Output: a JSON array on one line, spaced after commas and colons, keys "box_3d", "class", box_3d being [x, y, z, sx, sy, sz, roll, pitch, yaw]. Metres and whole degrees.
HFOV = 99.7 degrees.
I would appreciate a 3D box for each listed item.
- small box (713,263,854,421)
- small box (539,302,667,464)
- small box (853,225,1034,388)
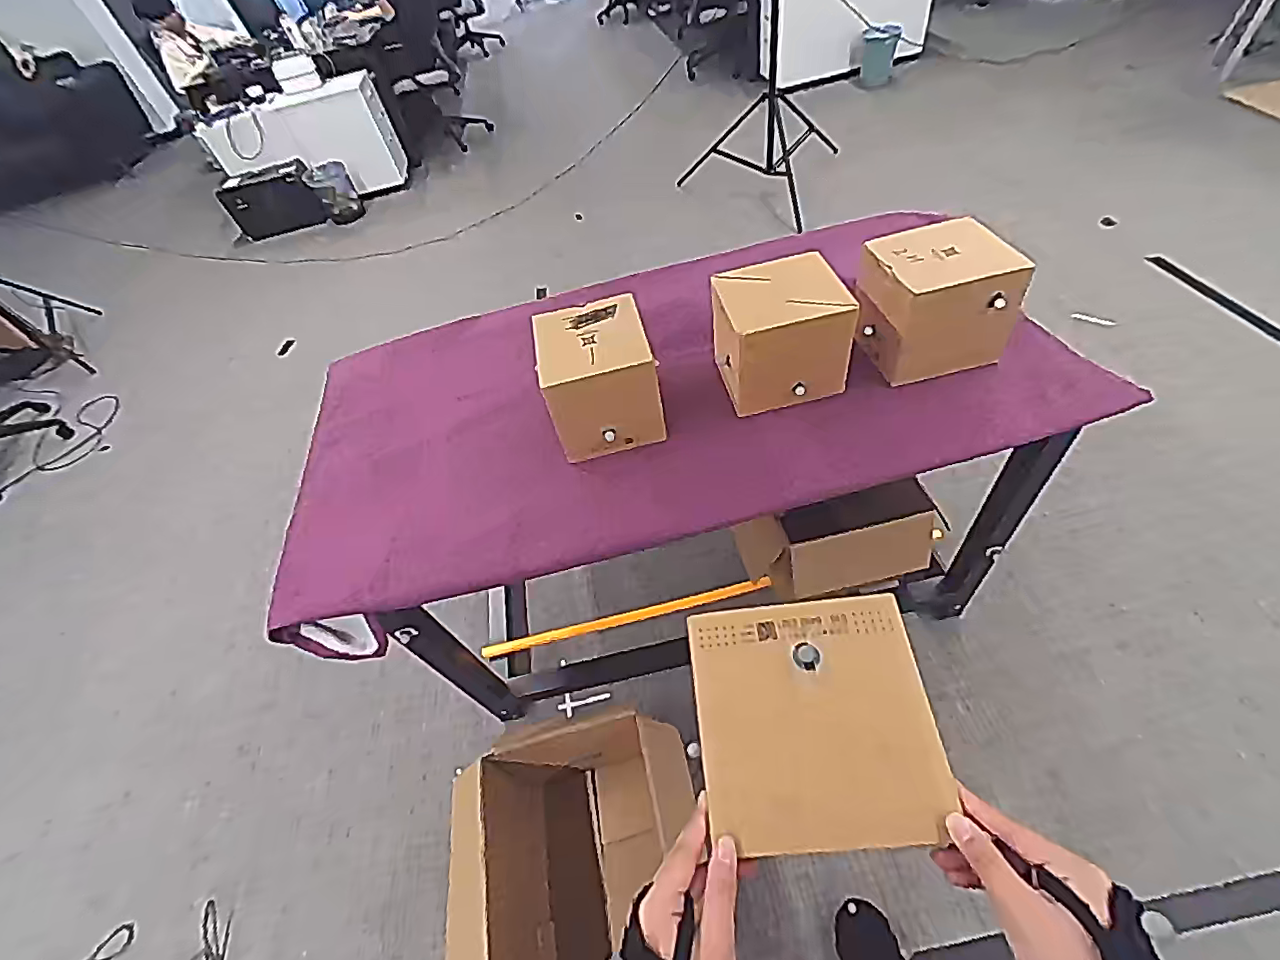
[{"box_3d": [0.222, -0.226, 0.871, 0.179, 0.176, 0.168, -13, 49, 2], "class": "small box"}, {"box_3d": [-0.058, -0.154, 0.875, 0.168, 0.176, 0.179, -14, 50, 0], "class": "small box"}, {"box_3d": [0.463, -0.272, 0.860, 0.179, 0.176, 0.168, -13, 48, 1], "class": "small box"}]
